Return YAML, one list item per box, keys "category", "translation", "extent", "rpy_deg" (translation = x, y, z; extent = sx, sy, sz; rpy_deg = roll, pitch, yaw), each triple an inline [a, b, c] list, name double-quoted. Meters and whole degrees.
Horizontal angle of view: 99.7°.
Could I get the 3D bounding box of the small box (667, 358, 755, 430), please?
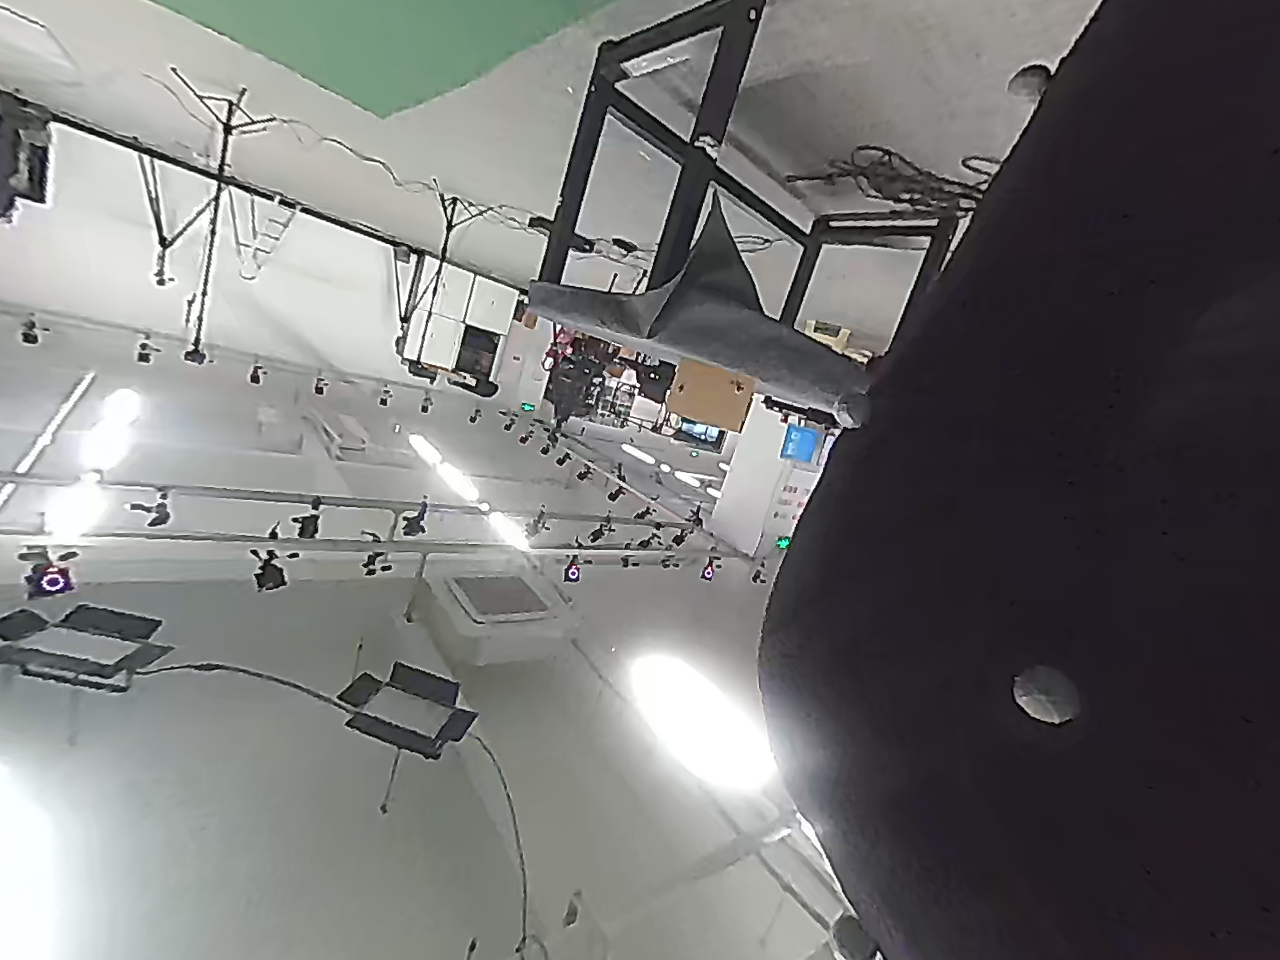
- category: "small box"
  translation: [0.216, -0.262, 1.624]
  extent: [0.168, 0.176, 0.179]
  rpy_deg: [6, -164, -42]
